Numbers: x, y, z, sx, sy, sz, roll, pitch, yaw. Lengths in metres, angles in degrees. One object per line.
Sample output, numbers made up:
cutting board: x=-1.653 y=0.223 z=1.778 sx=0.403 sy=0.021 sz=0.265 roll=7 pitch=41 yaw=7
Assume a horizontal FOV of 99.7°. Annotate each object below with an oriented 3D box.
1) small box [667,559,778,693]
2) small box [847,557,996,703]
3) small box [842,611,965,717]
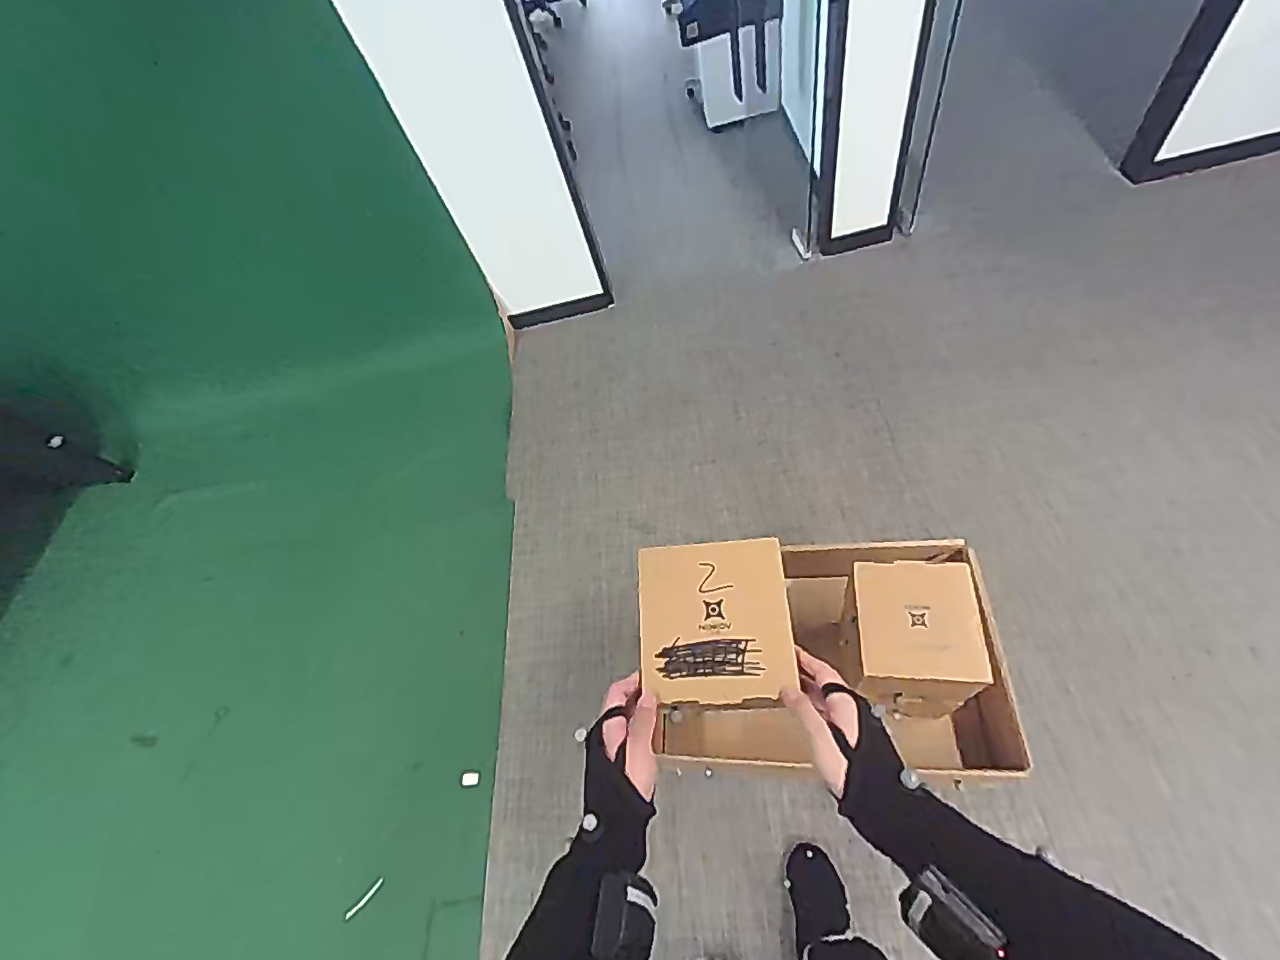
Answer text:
small box: x=0.140 y=0.250 z=0.913 sx=0.168 sy=0.176 sz=0.179 roll=-6 pitch=57 yaw=12
small box: x=0.424 y=0.236 z=0.848 sx=0.168 sy=0.176 sz=0.179 roll=-1 pitch=59 yaw=15
small box: x=0.465 y=0.319 z=0.983 sx=0.168 sy=0.176 sz=0.179 roll=0 pitch=60 yaw=15
